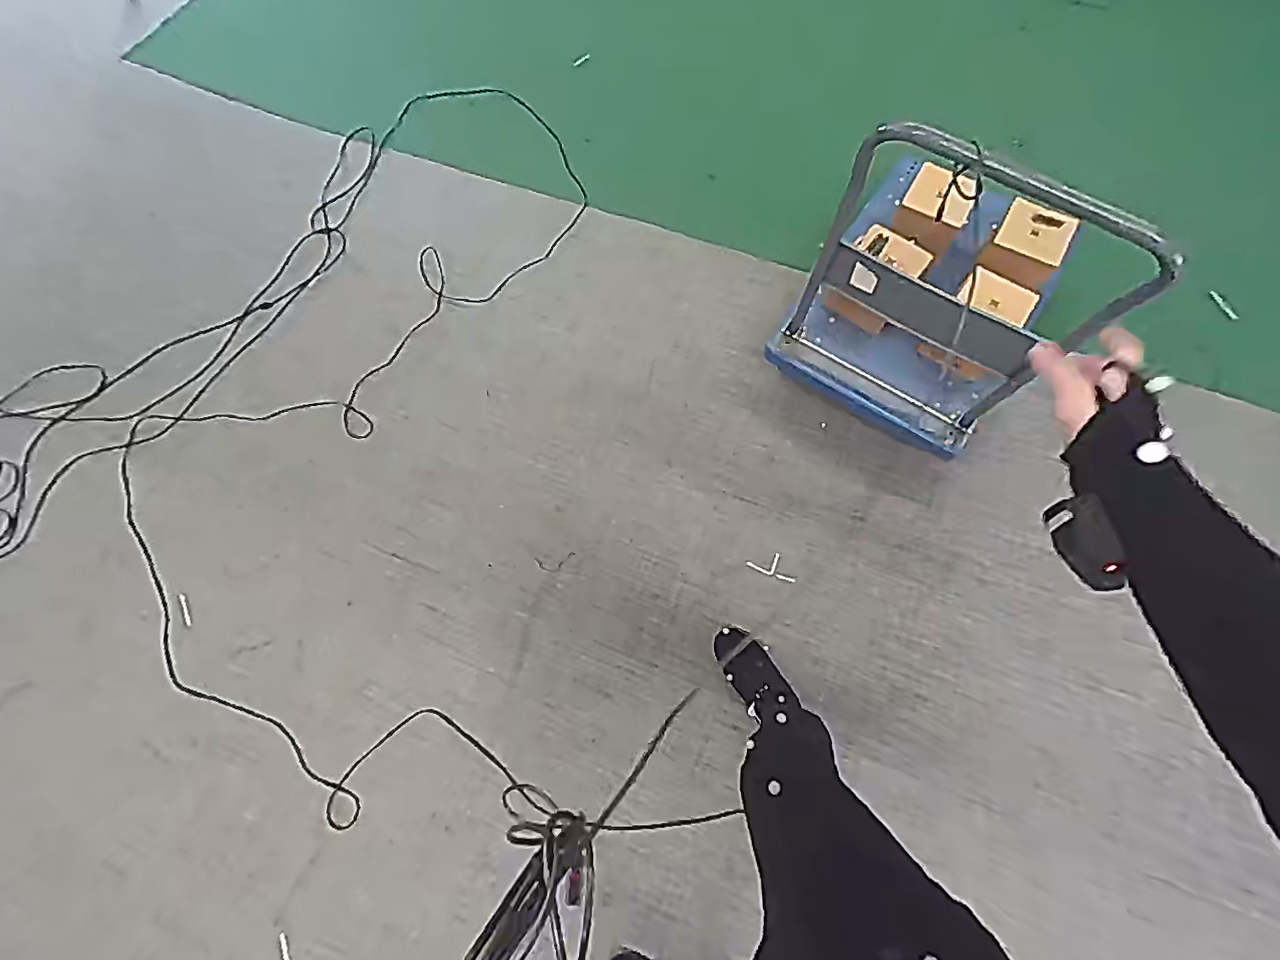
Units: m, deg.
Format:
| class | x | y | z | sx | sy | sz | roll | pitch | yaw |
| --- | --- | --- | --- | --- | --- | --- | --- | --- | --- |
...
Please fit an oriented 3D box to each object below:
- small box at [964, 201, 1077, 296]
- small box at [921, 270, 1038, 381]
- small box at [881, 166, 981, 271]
| class | x | y | z | sx | sy | sz | roll | pitch | yaw |
| --- | --- | --- | --- | --- | --- | --- | --- | --- | --- |
| small box | 1.017 | -0.603 | 1.461 | 0.168 | 0.176 | 0.179 | 29 | 74 | 13 |
| small box | 0.862 | -0.393 | 1.391 | 0.168 | 0.176 | 0.179 | 34 | 75 | 13 |
| small box | 0.802 | -0.723 | 1.512 | 0.168 | 0.176 | 0.179 | 30 | 74 | 11 |
